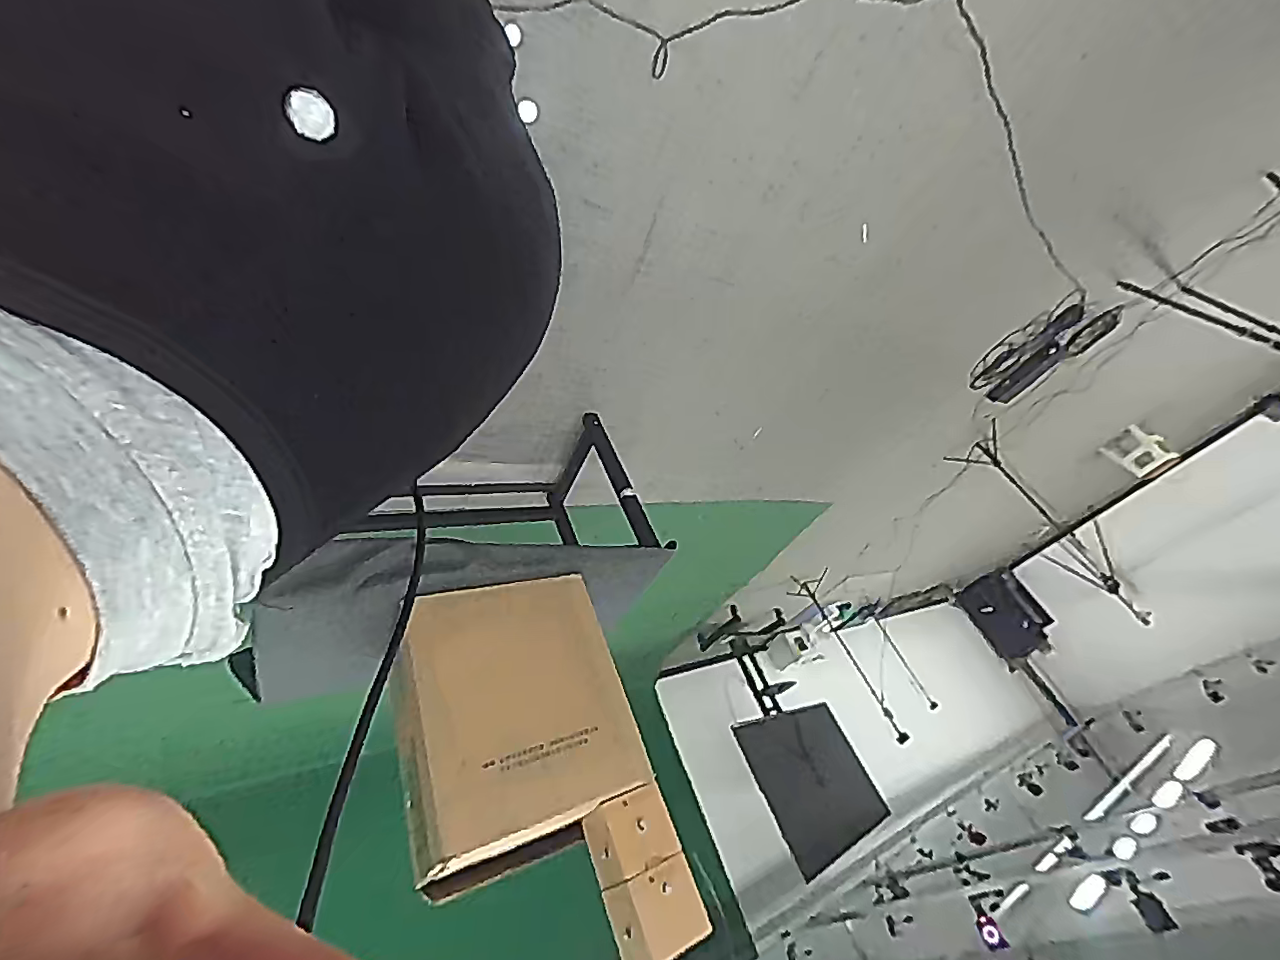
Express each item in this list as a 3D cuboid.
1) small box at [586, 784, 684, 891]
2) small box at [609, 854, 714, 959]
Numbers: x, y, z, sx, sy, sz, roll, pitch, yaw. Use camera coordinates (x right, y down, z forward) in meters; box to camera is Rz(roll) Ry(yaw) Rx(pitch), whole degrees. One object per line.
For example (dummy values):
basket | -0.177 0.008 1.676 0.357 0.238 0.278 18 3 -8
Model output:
small box | -0.021 0.906 1.383 0.168 0.176 0.179 -5 142 -32
small box | 0.042 1.032 1.296 0.168 0.176 0.179 -5 142 -33
